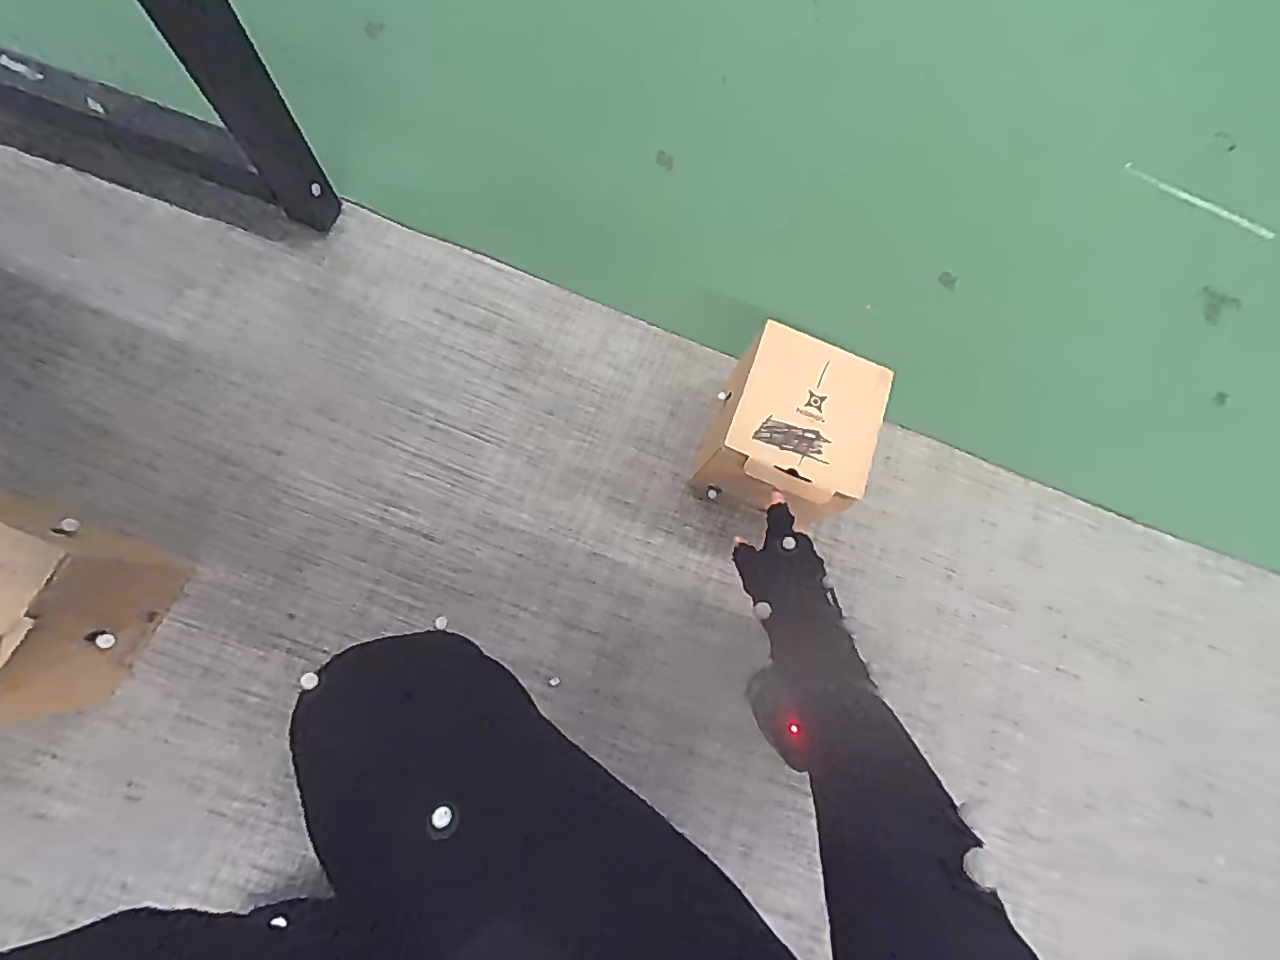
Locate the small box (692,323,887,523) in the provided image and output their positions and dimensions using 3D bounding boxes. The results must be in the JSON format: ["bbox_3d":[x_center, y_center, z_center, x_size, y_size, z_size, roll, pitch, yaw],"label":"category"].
[{"bbox_3d":[0.177,-0.059,0.691,0.168,0.176,0.179,22,74,-2],"label":"small box"}]
